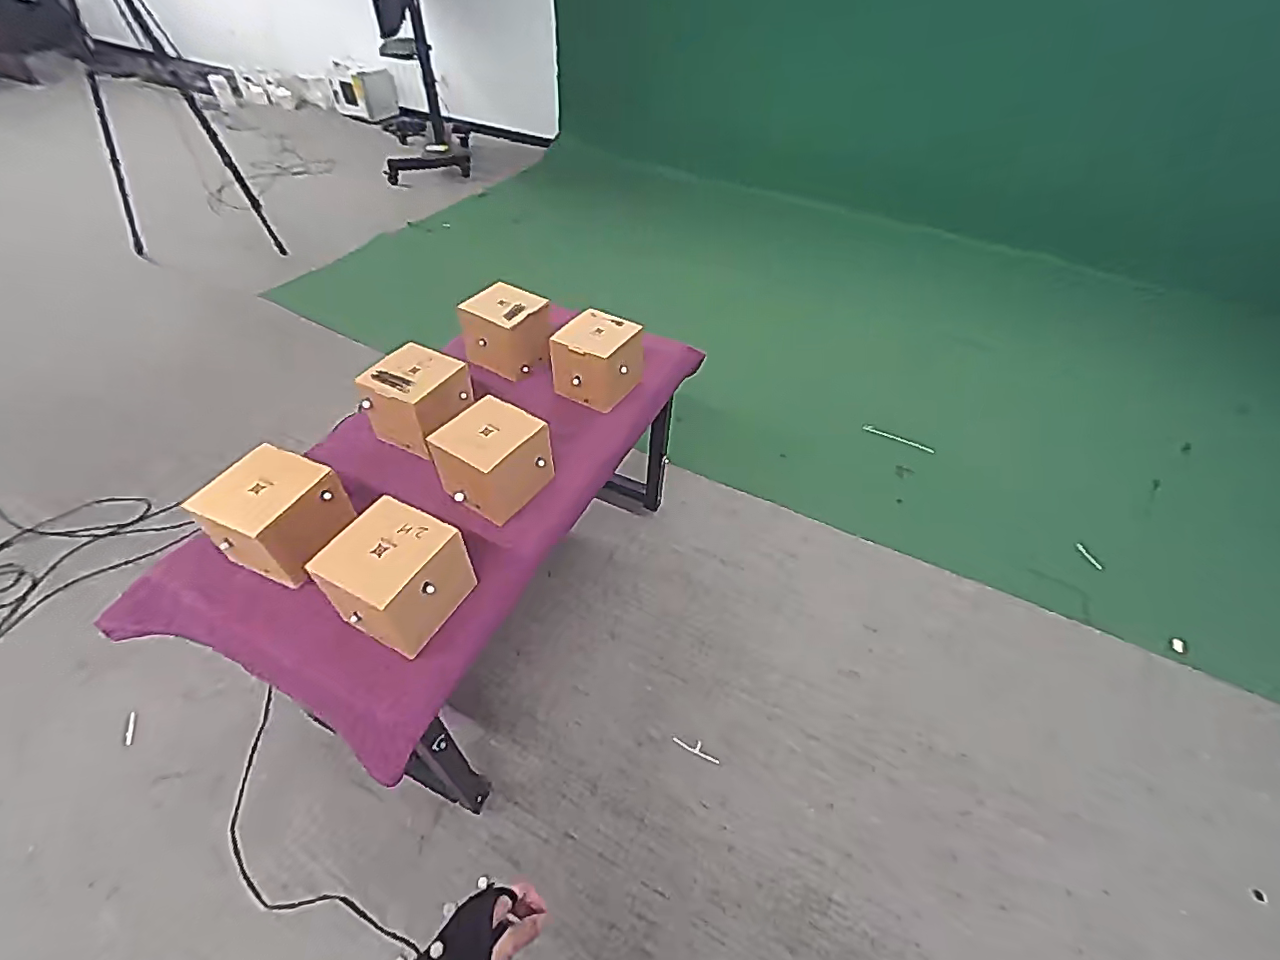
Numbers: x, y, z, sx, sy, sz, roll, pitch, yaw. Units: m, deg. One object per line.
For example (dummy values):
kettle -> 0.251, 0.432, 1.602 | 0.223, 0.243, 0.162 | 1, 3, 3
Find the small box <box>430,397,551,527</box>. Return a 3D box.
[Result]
small box -> -0.300, -0.038, 1.129 | 0.168, 0.176, 0.179 | 27, 52, 22

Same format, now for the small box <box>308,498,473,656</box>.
small box -> -0.410, 0.168, 0.926 | 0.168, 0.176, 0.179 | 22, 49, 17

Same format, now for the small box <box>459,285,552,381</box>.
small box -> -0.350, -0.389, 1.450 | 0.179, 0.176, 0.168 | 26, 51, 20

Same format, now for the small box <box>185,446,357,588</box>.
small box -> -0.666, 0.071, 1.004 | 0.168, 0.176, 0.179 | 18, 48, 13

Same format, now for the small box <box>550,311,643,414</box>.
small box -> -0.104, -0.298, 1.379 | 0.168, 0.176, 0.179 | 25, 52, 19
